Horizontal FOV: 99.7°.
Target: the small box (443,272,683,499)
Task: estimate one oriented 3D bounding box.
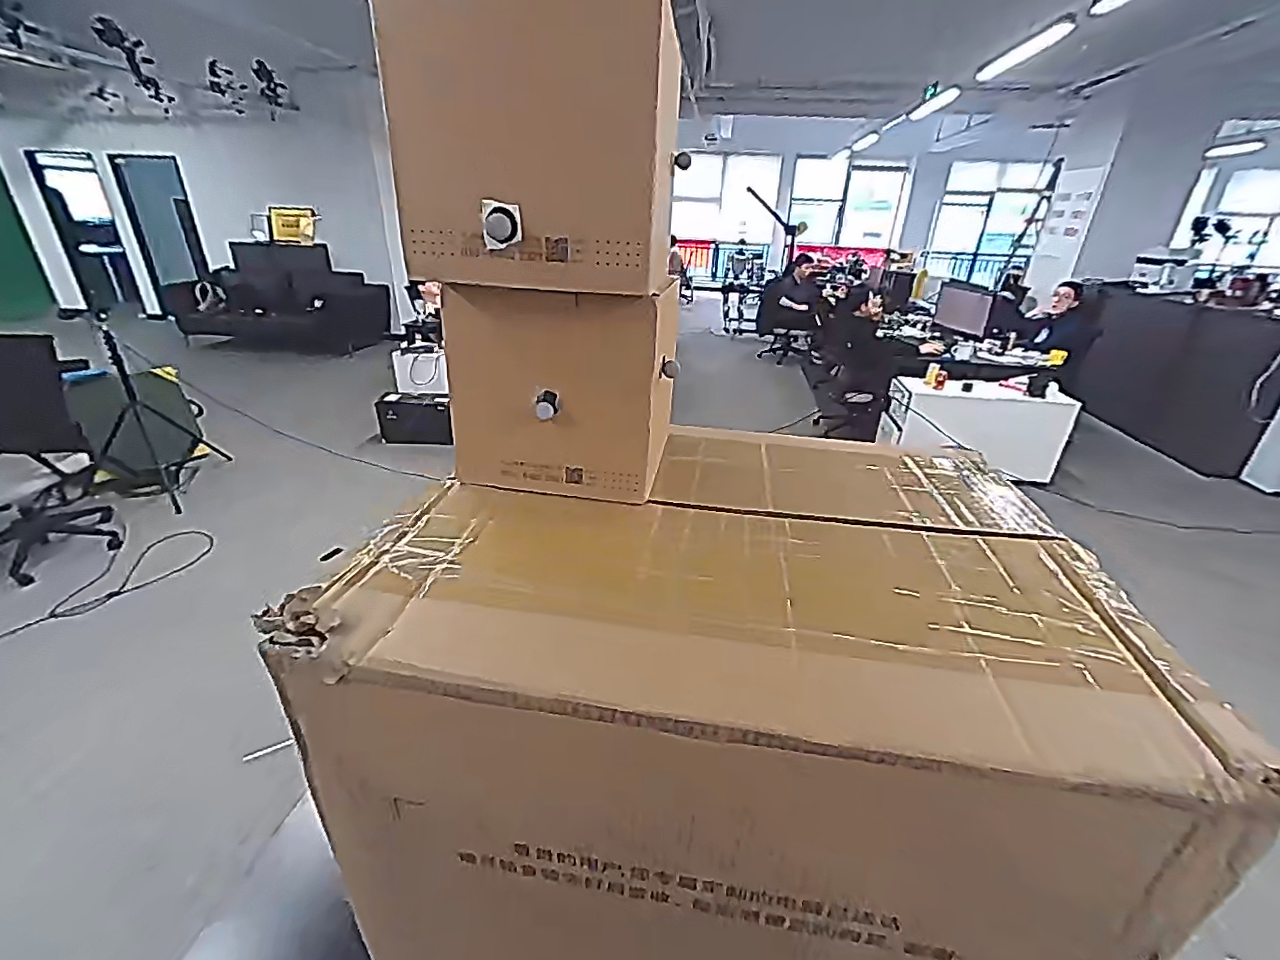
[{"bbox_3d":[-0.054,-0.096,0.492,0.168,0.176,0.179,7,26,6],"label":"small box"}]

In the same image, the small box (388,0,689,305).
[{"bbox_3d":[-0.055,-0.230,0.392,0.168,0.176,0.179,4,26,4],"label":"small box"}]
